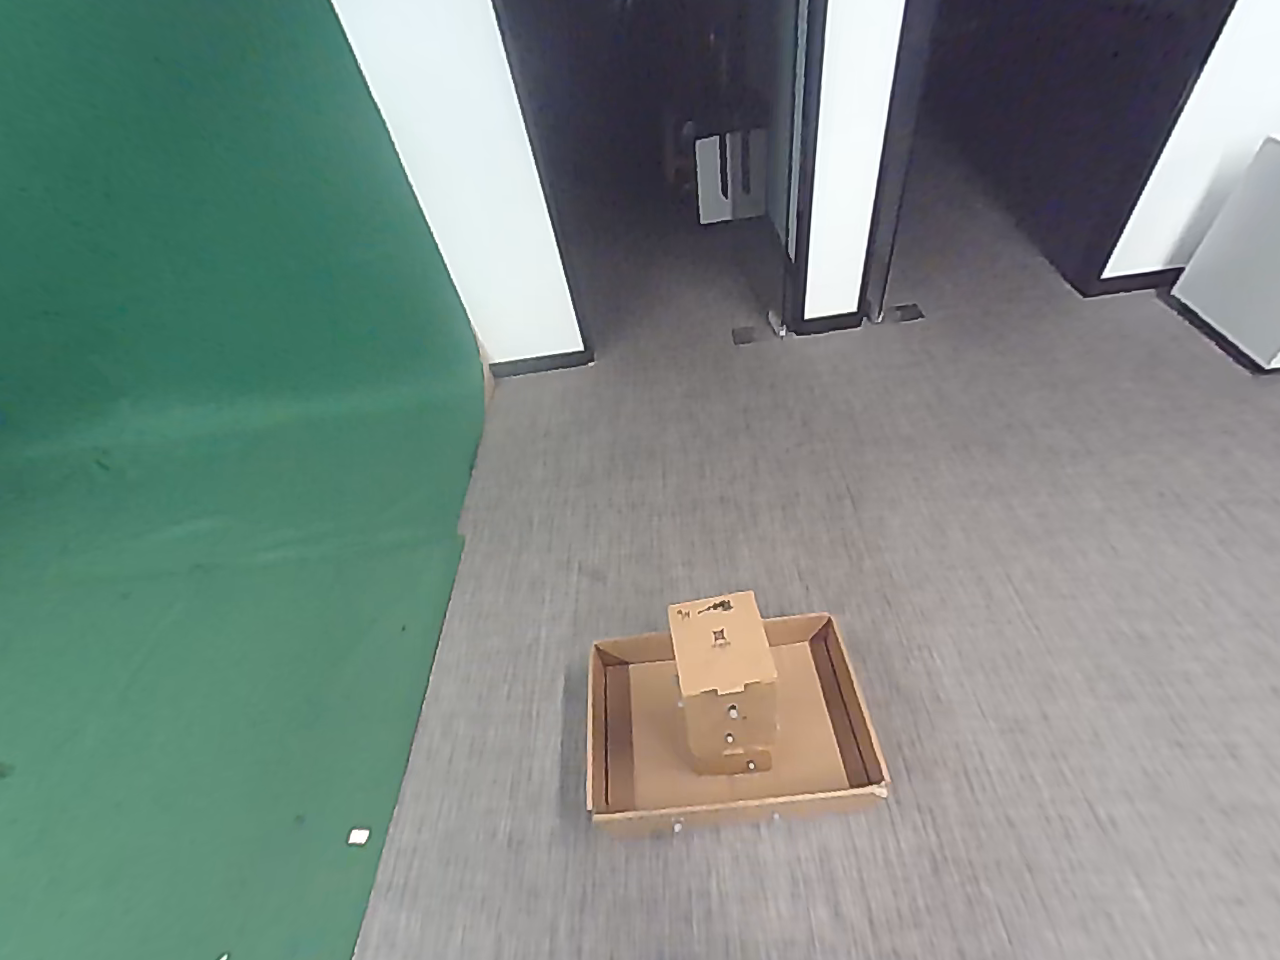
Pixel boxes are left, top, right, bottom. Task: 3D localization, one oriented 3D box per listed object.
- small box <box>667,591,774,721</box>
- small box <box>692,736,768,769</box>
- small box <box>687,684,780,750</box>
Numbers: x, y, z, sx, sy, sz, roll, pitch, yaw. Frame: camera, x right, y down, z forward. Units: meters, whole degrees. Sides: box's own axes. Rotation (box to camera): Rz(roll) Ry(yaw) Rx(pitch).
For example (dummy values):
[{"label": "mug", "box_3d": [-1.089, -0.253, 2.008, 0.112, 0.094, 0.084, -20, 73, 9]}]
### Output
[{"label": "small box", "box_3d": [0.151, 0.338, 1.019, 0.168, 0.176, 0.179, -10, 47, 3]}, {"label": "small box", "box_3d": [0.203, 0.557, 1.257, 0.168, 0.176, 0.179, -7, 46, 5]}, {"label": "small box", "box_3d": [0.180, 0.449, 1.136, 0.179, 0.176, 0.168, -10, 47, 1]}]
